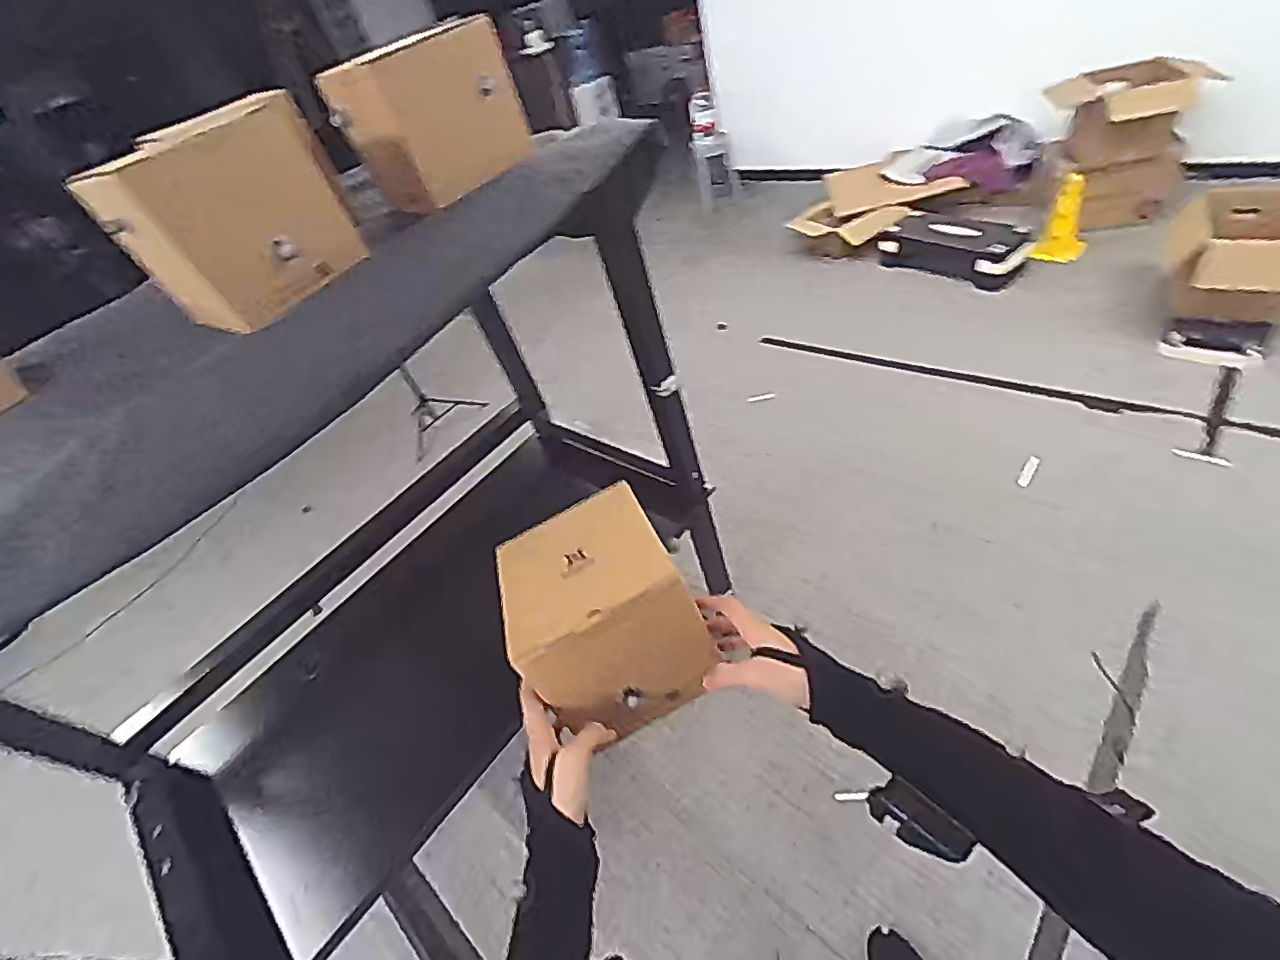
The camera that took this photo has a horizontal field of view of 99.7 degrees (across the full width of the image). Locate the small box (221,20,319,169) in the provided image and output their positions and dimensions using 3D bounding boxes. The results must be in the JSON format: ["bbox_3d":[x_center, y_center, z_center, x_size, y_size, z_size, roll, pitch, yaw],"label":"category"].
[{"bbox_3d":[-0.593,-0.490,0.743,0.179,0.176,0.168,24,60,36],"label":"small box"}]

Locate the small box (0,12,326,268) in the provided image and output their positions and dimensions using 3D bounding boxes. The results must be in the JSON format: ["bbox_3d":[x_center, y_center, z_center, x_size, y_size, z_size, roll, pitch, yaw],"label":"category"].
[{"bbox_3d":[-0.476,-0.336,0.555,0.179,0.176,0.168,18,57,32],"label":"small box"}]
